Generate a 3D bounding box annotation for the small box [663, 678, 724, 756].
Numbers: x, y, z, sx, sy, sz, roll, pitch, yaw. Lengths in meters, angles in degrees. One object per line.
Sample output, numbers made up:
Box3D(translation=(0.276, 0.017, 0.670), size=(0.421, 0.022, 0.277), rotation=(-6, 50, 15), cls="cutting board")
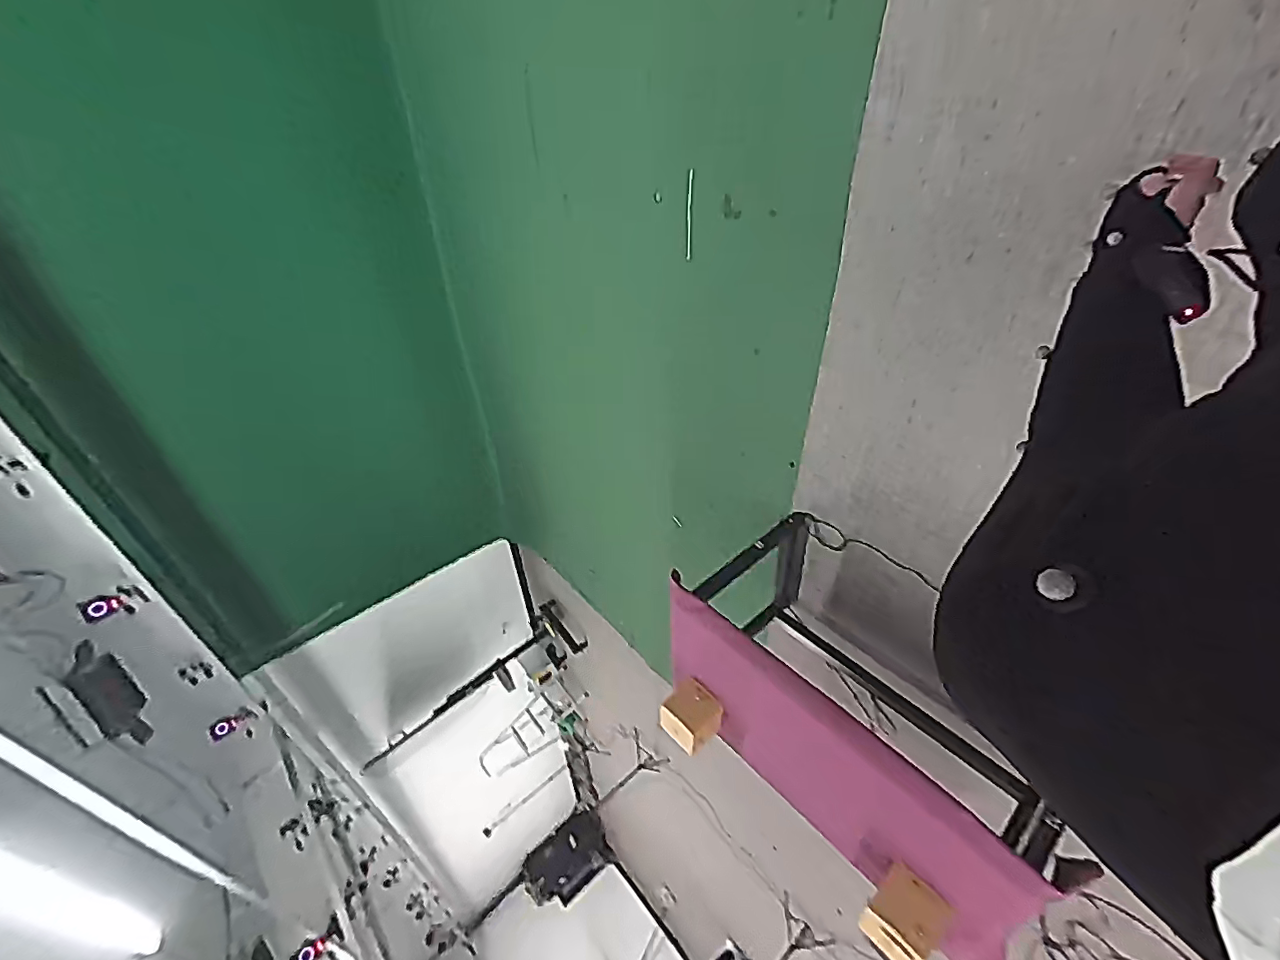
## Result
Box3D(translation=(0.203, 0.899, 2.059), size=(0.168, 0.176, 0.179), rotation=(32, 139, 34), cls="small box")
